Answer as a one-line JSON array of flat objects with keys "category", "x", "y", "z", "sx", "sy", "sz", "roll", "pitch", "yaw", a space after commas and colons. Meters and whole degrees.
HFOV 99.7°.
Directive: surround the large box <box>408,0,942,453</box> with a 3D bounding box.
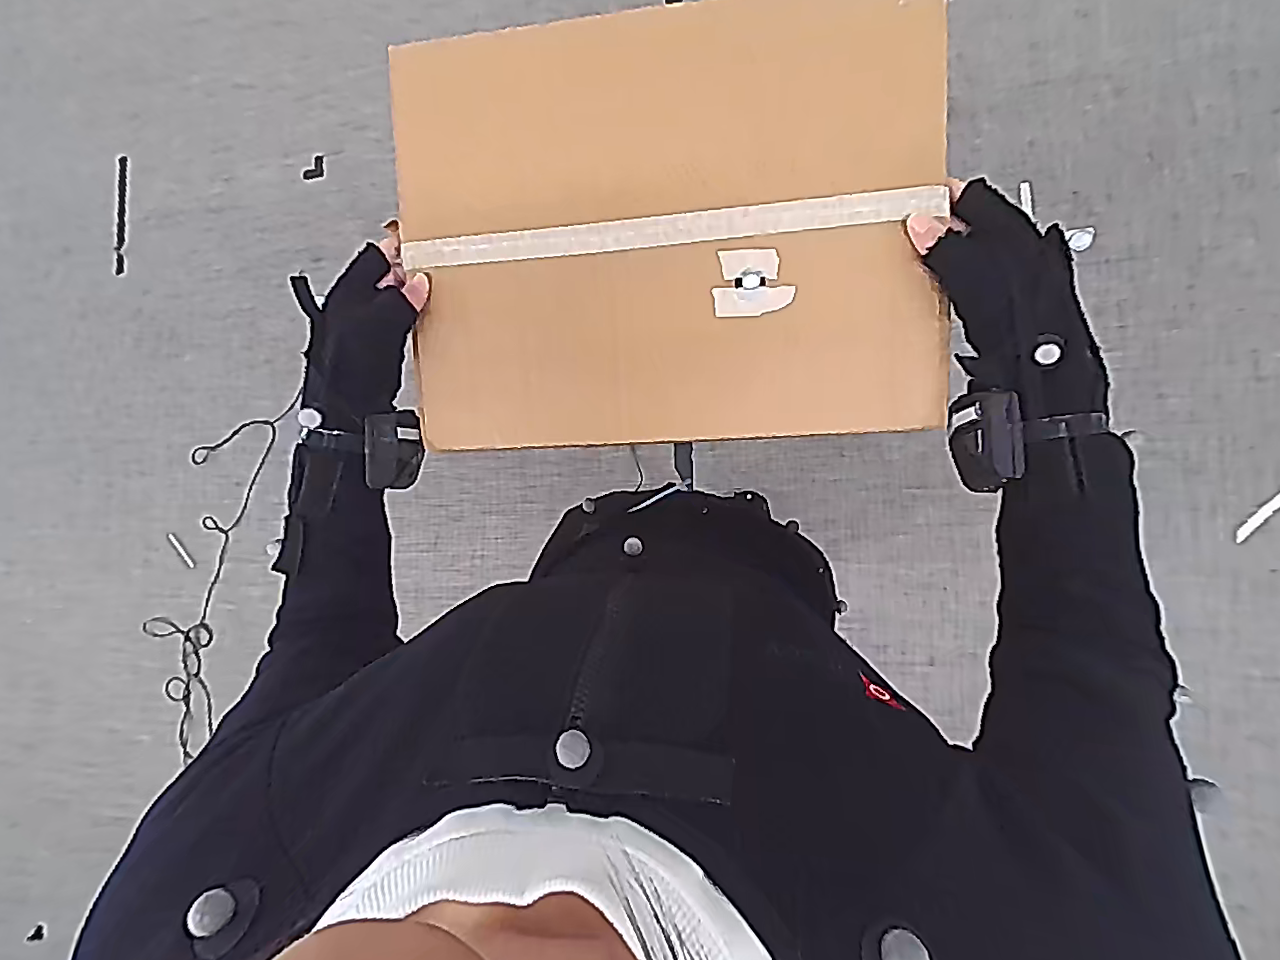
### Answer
[{"category": "large box", "x": 0.036, "y": -0.201, "z": 0.564, "sx": 0.408, "sy": 0.320, "sz": 0.320, "roll": -3, "pitch": 96, "yaw": 7}]
